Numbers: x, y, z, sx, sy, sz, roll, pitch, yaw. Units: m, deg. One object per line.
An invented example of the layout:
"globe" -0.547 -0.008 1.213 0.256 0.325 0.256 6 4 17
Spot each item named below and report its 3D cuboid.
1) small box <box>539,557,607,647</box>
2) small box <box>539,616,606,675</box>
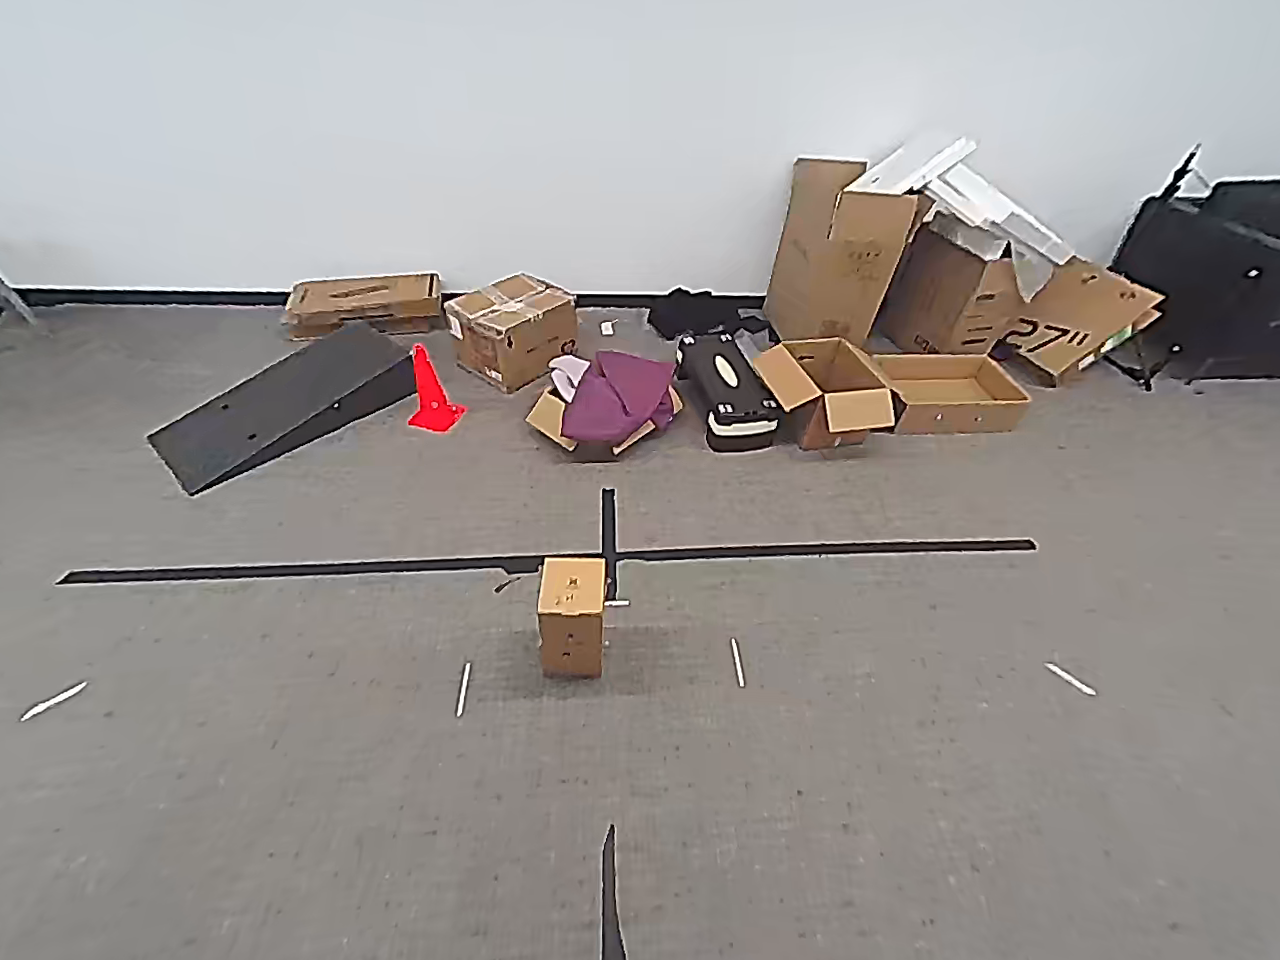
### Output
"small box" -0.177 0.331 1.466 0.168 0.176 0.179 1 44 -2
"small box" -0.191 0.454 1.576 0.179 0.176 0.168 2 44 -2
